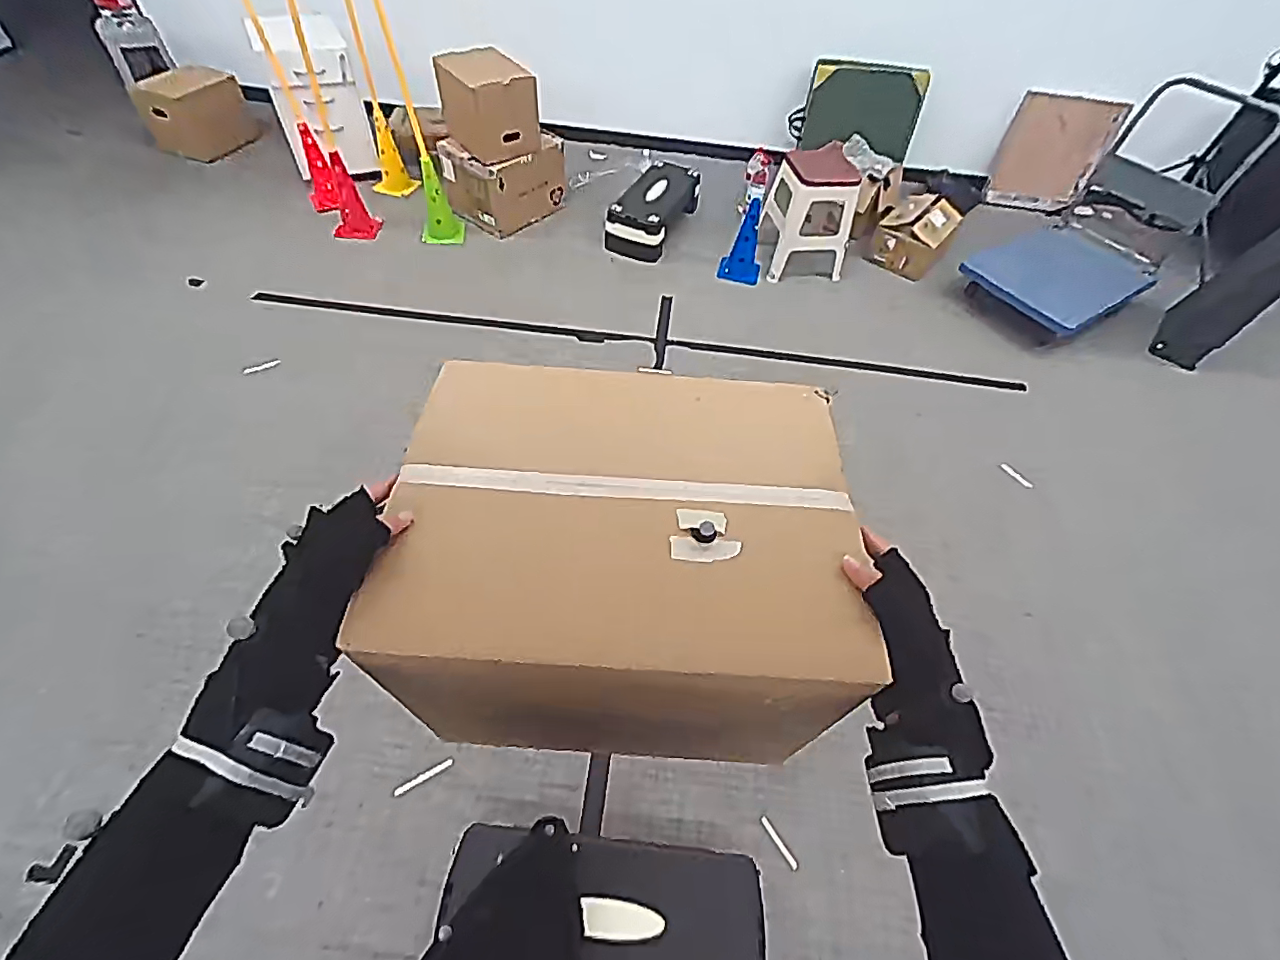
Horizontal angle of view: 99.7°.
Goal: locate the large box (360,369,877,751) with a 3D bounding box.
[{"bbox_3d":[-0.020,0.103,0.615,0.408,0.320,0.320,4,53,-1],"label":"large box"}]
